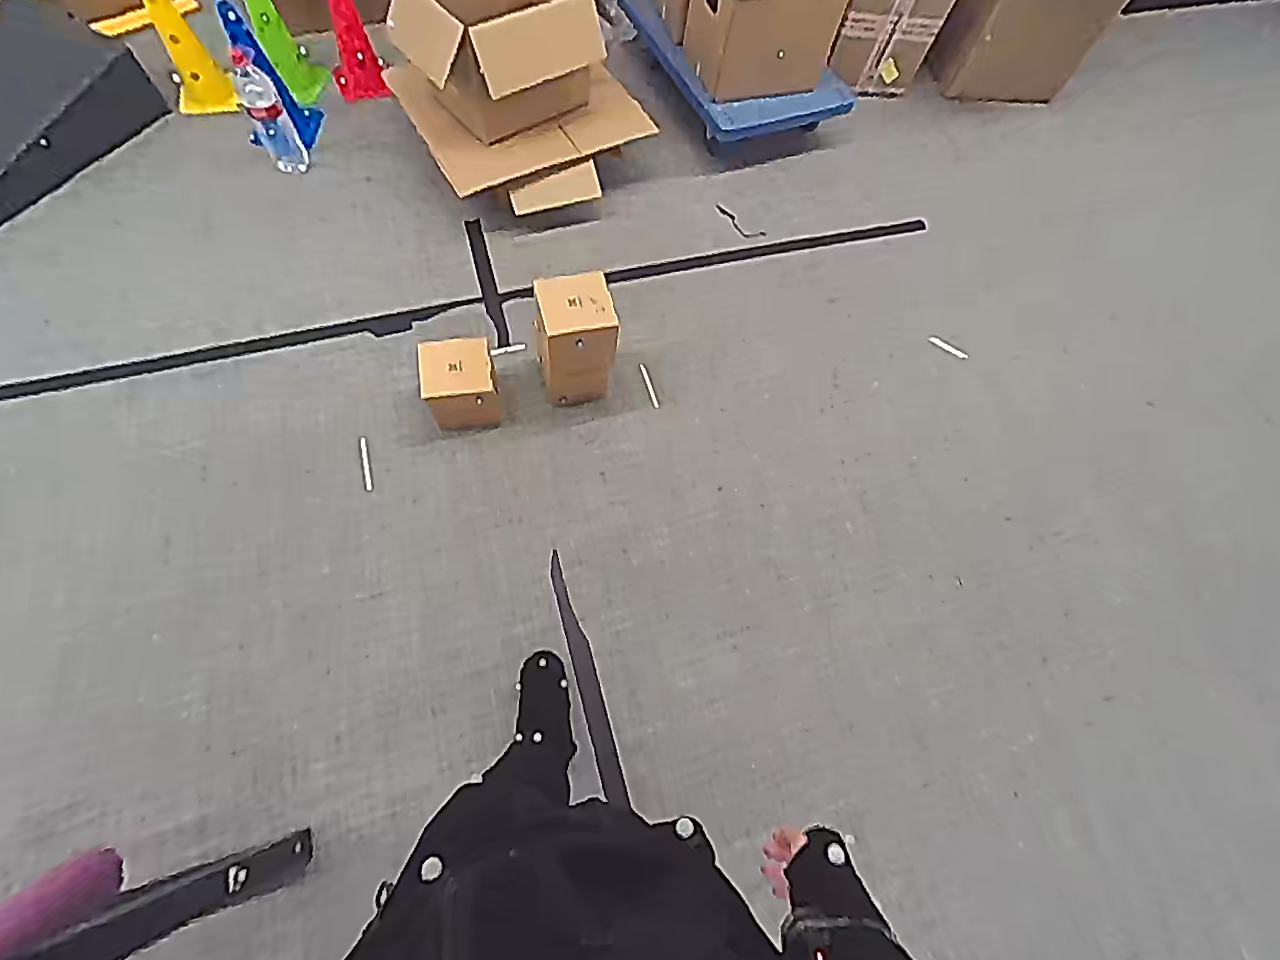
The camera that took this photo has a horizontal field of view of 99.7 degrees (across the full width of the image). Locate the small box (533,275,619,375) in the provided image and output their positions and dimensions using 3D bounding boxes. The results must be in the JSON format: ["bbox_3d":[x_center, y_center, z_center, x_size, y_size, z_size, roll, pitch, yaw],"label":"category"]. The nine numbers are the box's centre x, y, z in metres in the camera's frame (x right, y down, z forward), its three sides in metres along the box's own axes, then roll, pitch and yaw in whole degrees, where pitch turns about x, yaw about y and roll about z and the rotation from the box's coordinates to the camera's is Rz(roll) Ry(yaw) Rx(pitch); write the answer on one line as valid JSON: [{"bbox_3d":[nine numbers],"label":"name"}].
[{"bbox_3d":[-0.160,-0.380,1.347,0.179,0.176,0.168,-12,70,-13],"label":"small box"}]

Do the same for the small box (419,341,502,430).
[{"bbox_3d":[-0.471,-0.245,1.433,0.179,0.176,0.168,-9,68,-11],"label":"small box"}]

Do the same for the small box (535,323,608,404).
[{"bbox_3d":[-0.188,-0.329,1.502,0.168,0.176,0.179,-15,69,-13],"label":"small box"}]
